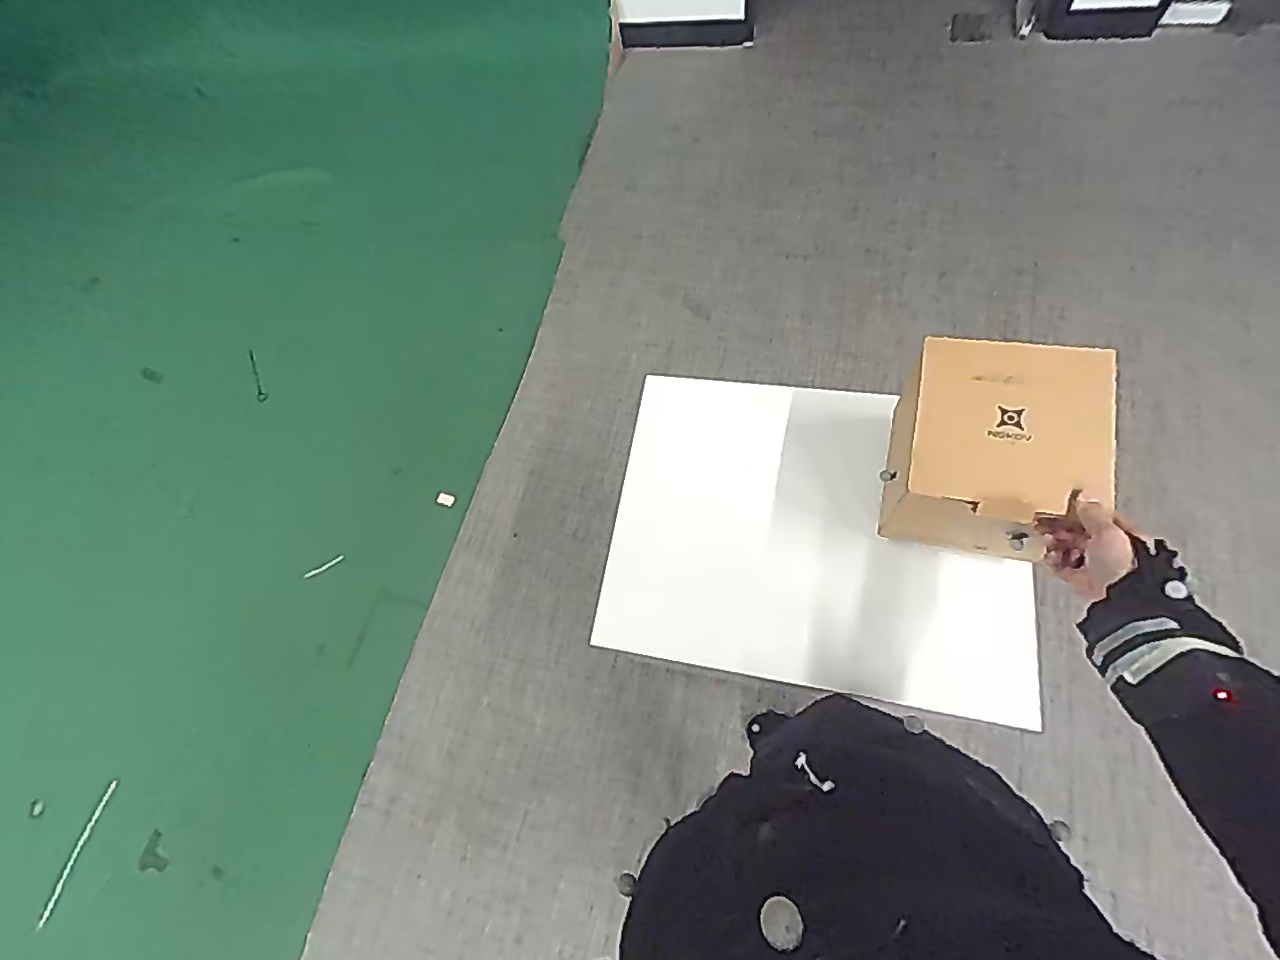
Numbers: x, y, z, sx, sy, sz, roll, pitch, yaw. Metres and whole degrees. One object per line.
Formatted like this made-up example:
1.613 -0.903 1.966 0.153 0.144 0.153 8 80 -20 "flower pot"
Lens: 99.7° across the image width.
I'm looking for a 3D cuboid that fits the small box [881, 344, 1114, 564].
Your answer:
0.366 -0.020 0.581 0.168 0.176 0.179 10 72 17 "small box"
